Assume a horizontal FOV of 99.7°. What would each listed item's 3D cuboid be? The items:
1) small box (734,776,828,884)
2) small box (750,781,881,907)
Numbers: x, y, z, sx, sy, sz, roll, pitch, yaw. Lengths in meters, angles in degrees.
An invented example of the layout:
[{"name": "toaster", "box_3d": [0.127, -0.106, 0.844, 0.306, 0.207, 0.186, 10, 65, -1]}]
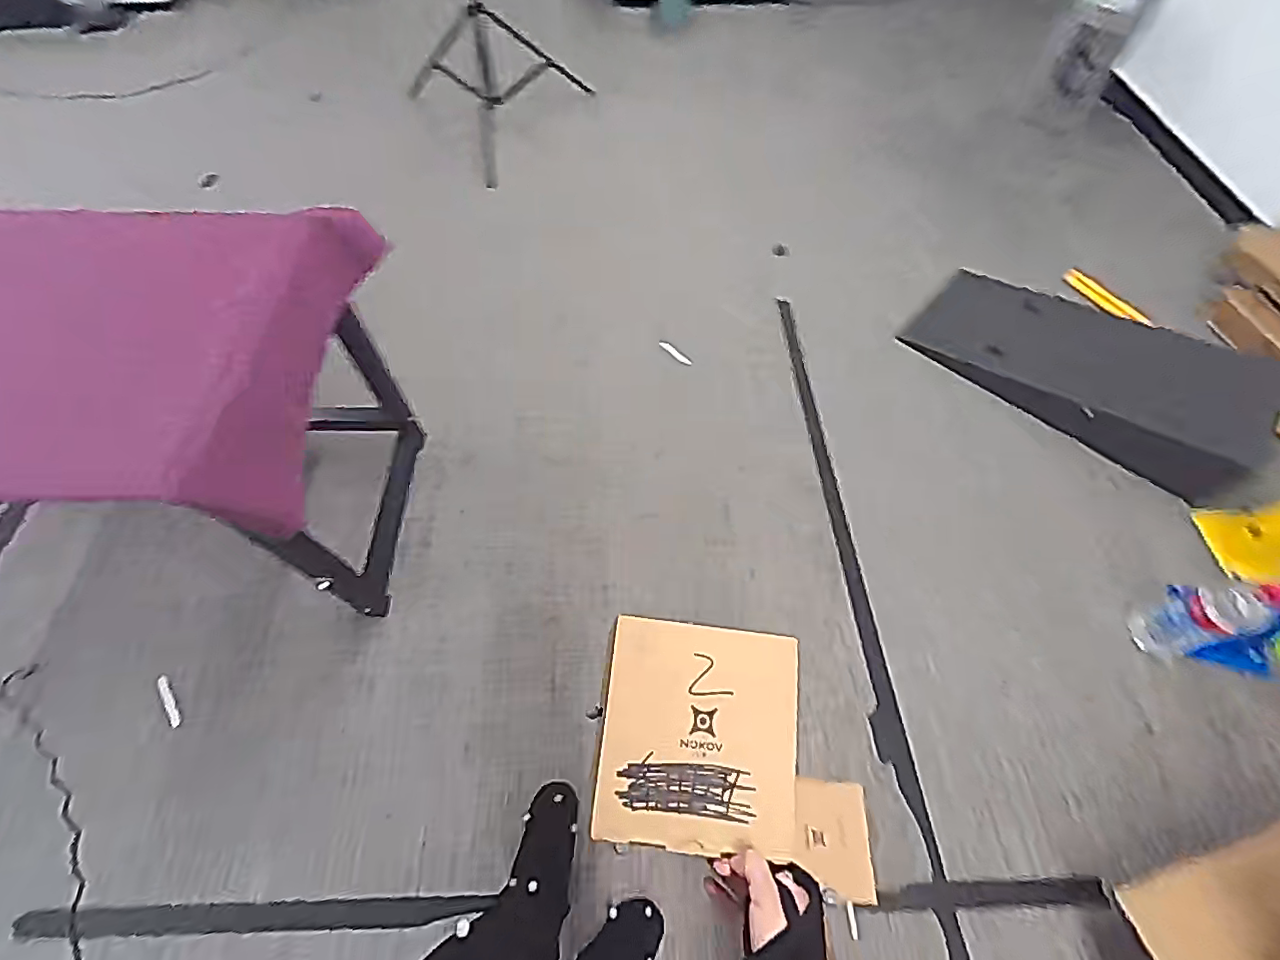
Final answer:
[{"name": "small box", "box_3d": [0.284, 0.707, 1.093, 0.168, 0.176, 0.179, 3, 60, 2]}, {"name": "small box", "box_3d": [0.293, 0.629, 0.951, 0.179, 0.176, 0.168, 3, 62, 0]}]
